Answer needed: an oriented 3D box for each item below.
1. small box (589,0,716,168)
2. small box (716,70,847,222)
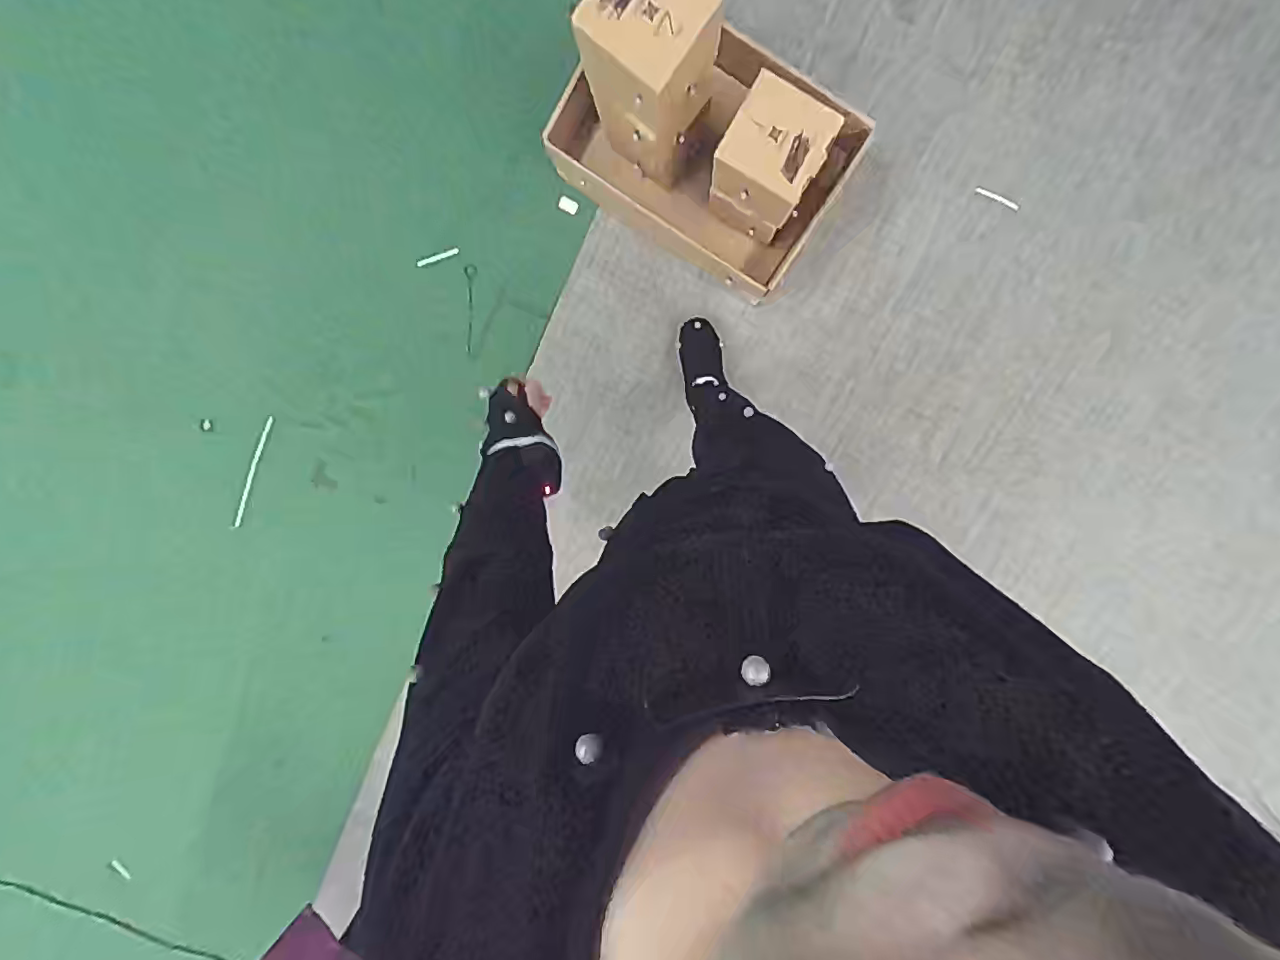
[{"bbox_3d":[0.026,-0.757,1.057,0.179,0.176,0.168,43,101,-5],"label":"small box"},{"bbox_3d":[0.263,-0.630,1.050,0.179,0.176,0.168,32,102,1],"label":"small box"}]
